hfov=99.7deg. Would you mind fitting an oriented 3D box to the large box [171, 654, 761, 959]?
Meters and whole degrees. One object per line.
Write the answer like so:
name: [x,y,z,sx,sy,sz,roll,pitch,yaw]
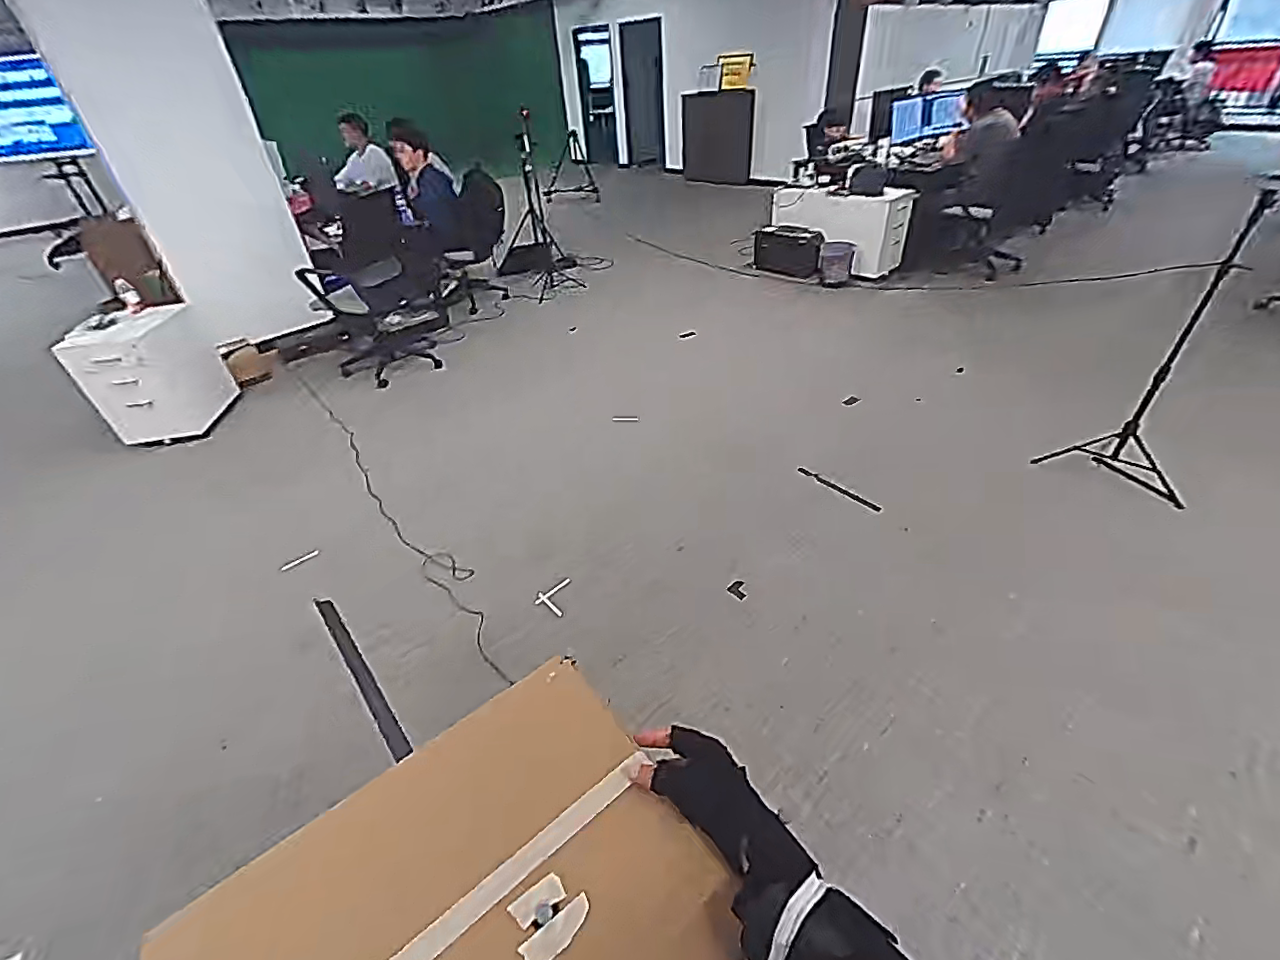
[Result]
large box: [-0.136,0.472,0.536,0.408,0.320,0.320,-28,45,-27]
